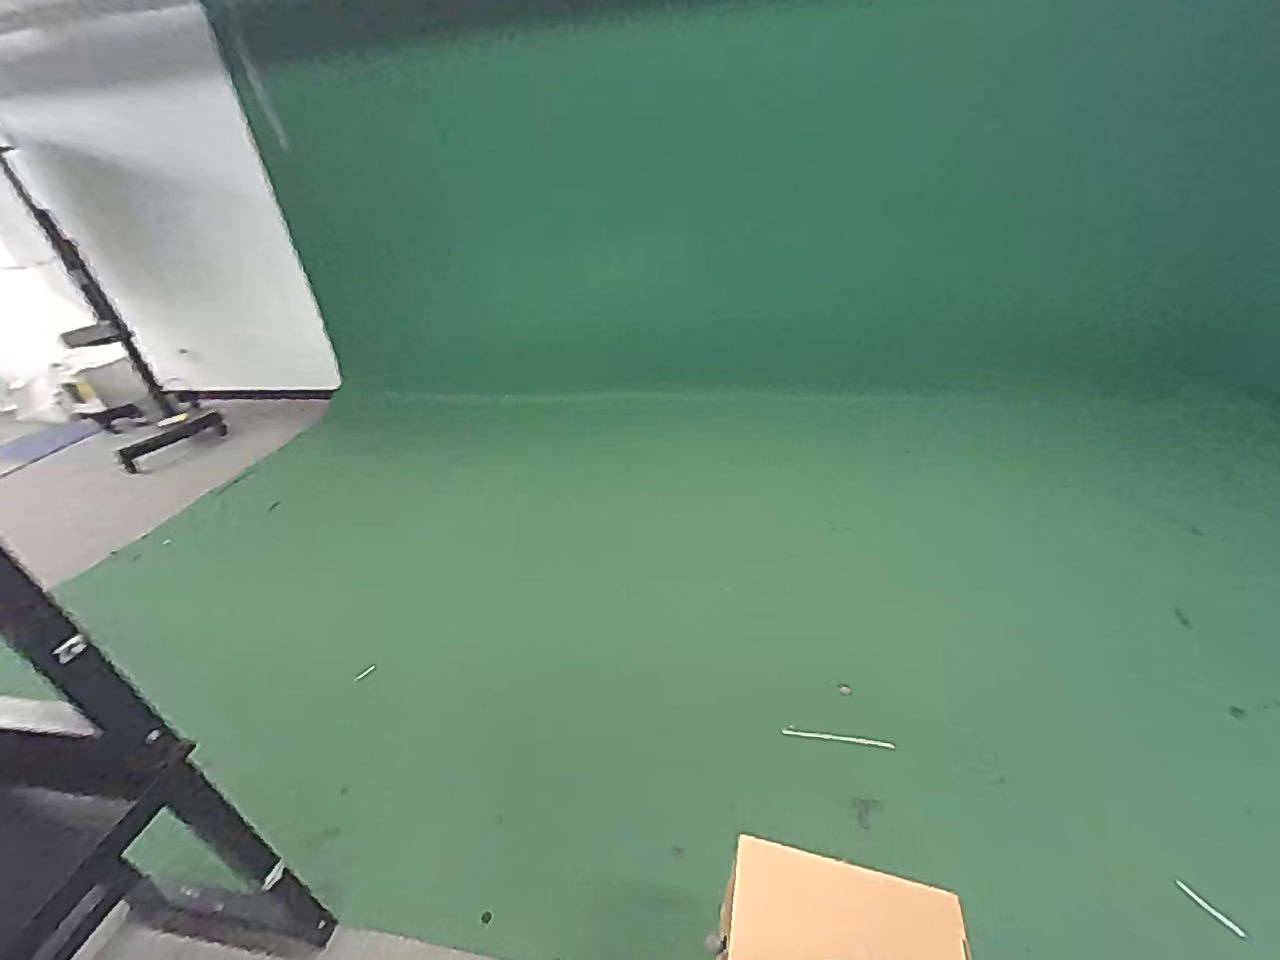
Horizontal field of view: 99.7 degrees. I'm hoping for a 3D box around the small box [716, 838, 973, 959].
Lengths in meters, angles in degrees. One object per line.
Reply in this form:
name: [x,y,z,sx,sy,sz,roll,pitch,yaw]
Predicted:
small box: [0.145,0.422,0.417,0.179,0.176,0.168,9,36,11]
